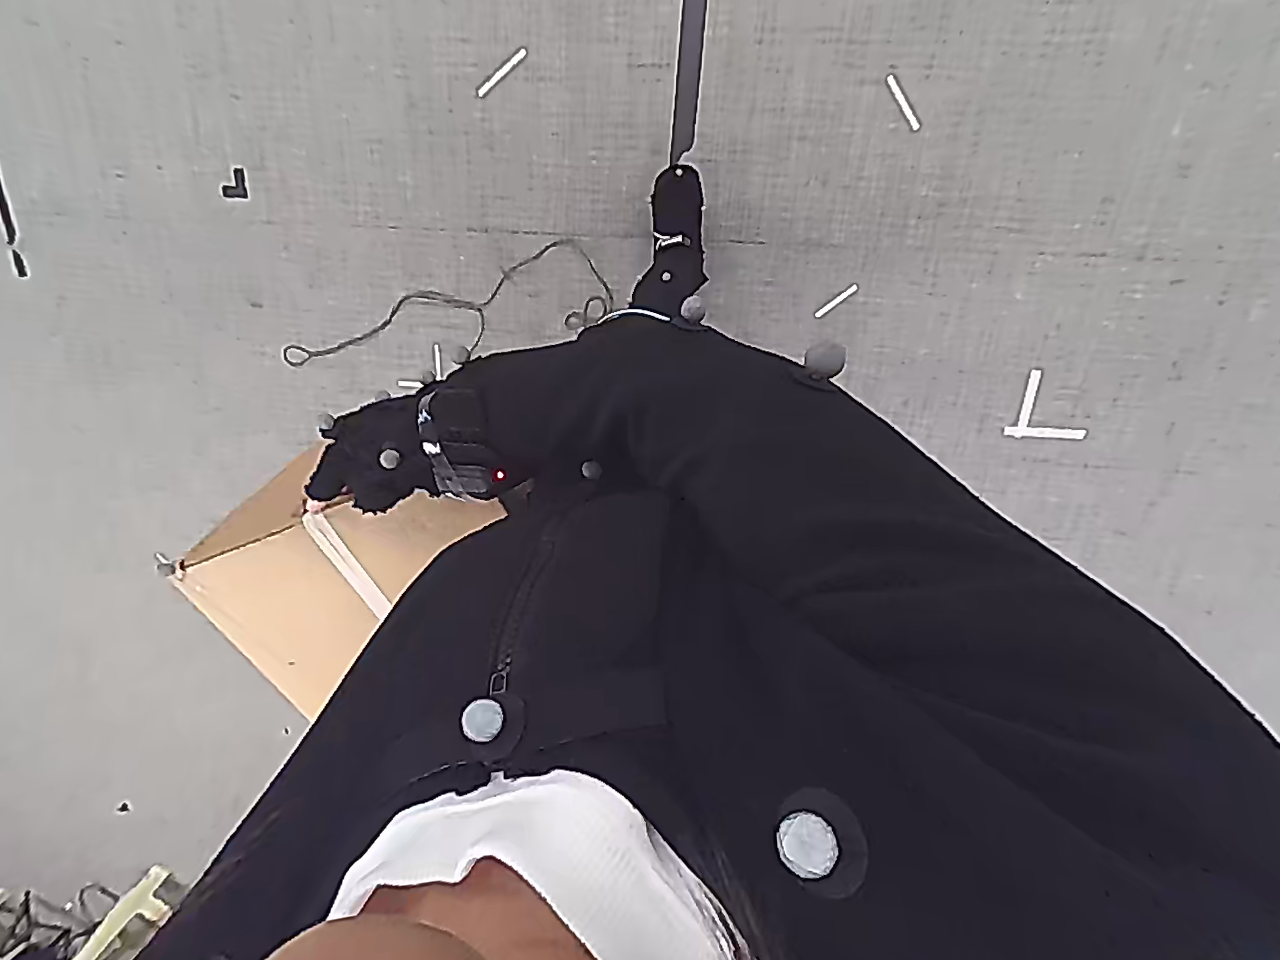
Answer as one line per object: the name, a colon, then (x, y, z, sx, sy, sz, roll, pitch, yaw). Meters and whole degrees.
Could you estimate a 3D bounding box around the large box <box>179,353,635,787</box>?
large box: (-0.226, 0.103, 0.703, 0.320, 0.320, 0.408, -21, 115, 5)
